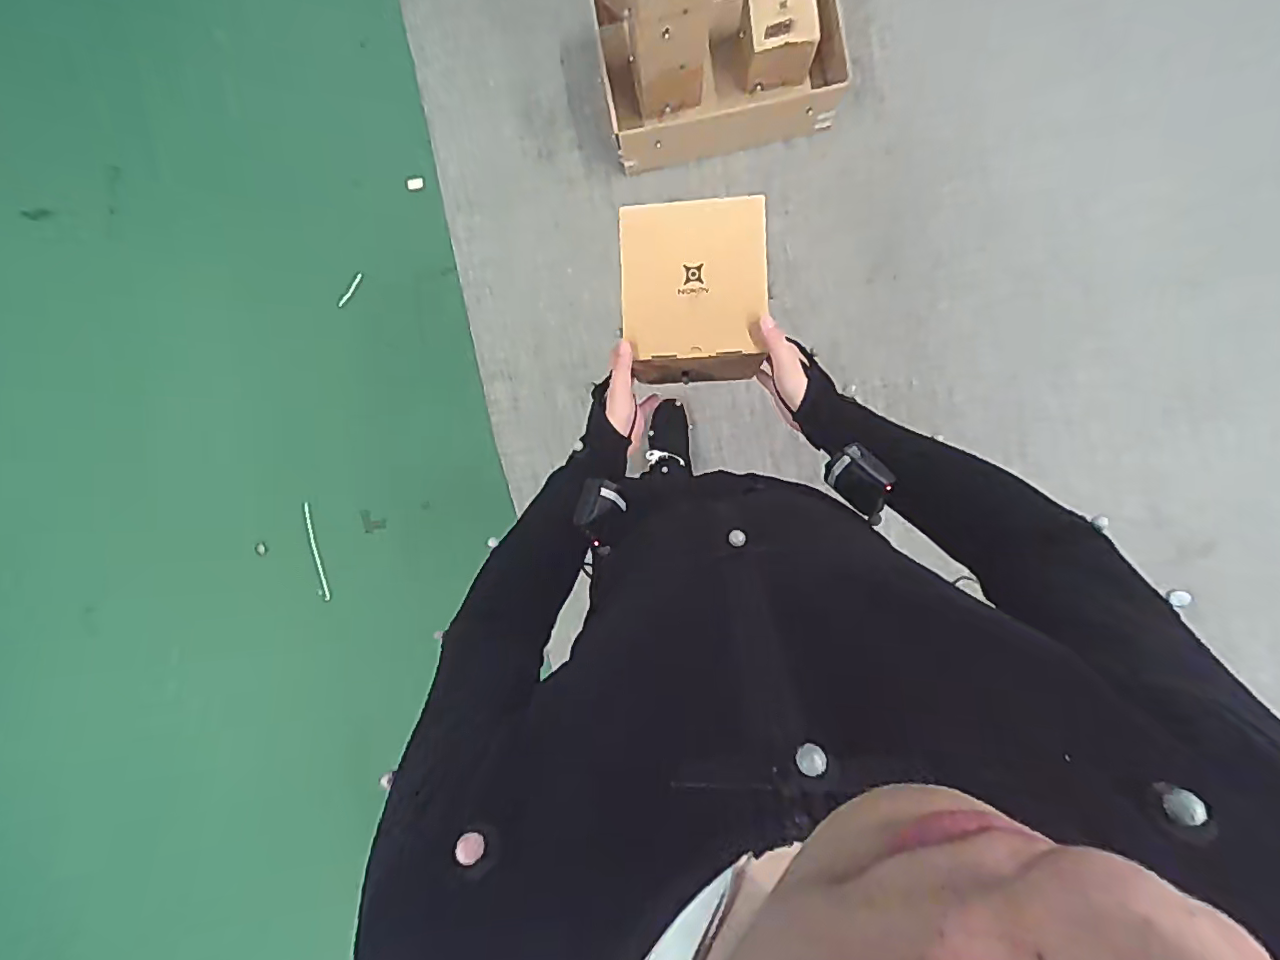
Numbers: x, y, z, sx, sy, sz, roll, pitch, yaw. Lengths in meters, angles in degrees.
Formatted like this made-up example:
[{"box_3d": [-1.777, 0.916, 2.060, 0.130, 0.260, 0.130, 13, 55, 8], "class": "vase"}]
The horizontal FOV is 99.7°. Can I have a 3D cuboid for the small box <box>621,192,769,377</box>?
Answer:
[{"box_3d": [0.066, -0.233, 0.683, 0.168, 0.176, 0.179, -2, 92, 5], "class": "small box"}]

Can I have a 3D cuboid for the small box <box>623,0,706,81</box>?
[{"box_3d": [0.053, -1.095, 1.266, 0.168, 0.176, 0.179, -13, 92, 5], "class": "small box"}]
